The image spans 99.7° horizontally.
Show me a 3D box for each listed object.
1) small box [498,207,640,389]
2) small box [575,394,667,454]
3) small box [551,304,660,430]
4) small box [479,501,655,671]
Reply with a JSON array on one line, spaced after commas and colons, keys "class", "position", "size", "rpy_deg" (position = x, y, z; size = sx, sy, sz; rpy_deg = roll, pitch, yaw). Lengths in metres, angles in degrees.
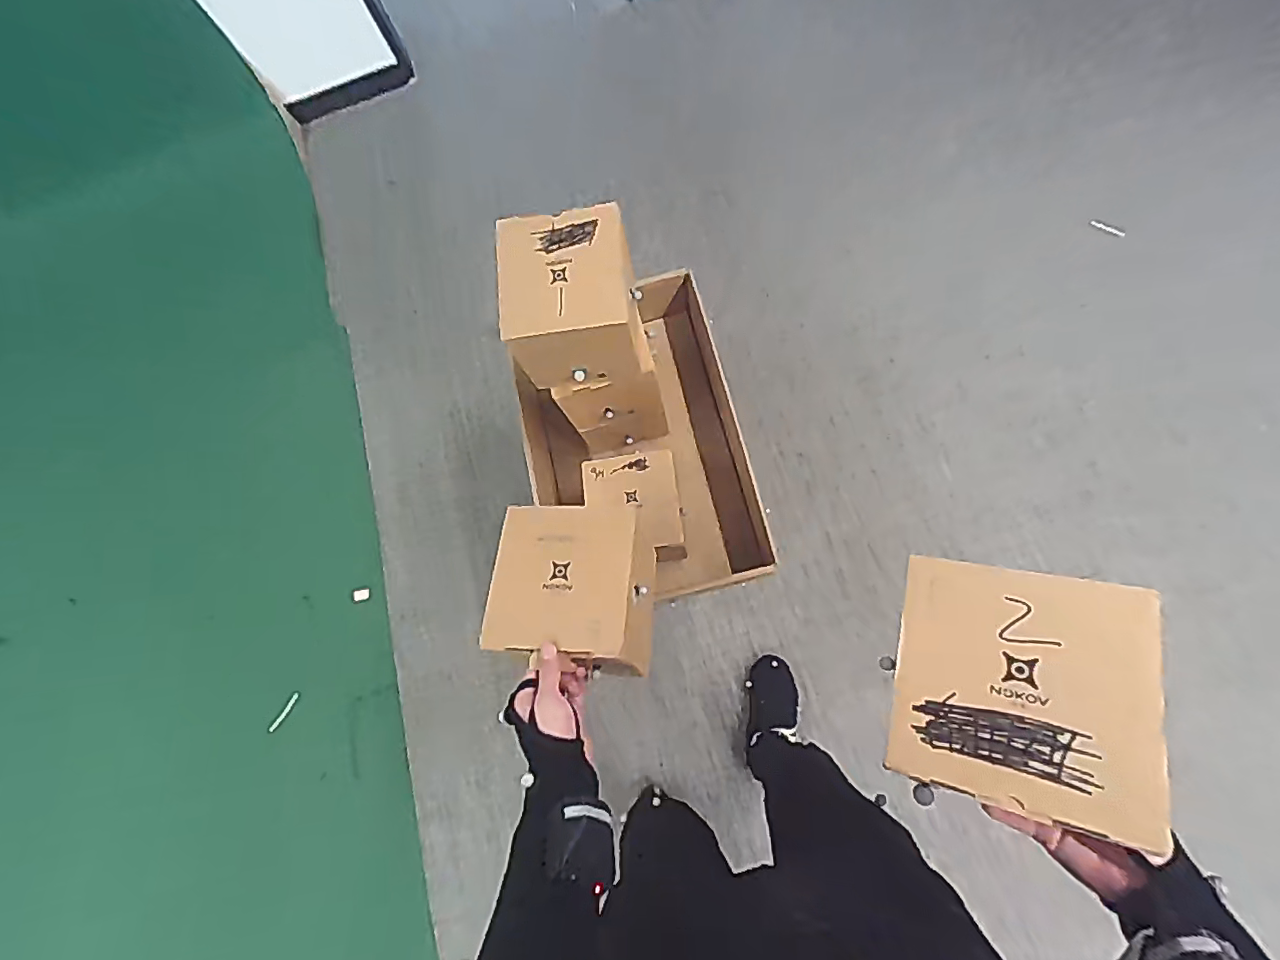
[{"class": "small box", "position": [-0.094, -0.249, 0.772], "size": [0.168, 0.176, 0.179], "rpy_deg": [-6, 77, 6]}, {"class": "small box", "position": [-0.047, -0.172, 1.085], "size": [0.168, 0.176, 0.179], "rpy_deg": [-15, 75, 4]}, {"class": "small box", "position": [-0.068, -0.208, 0.929], "size": [0.168, 0.176, 0.179], "rpy_deg": [-16, 76, 3]}, {"class": "small box", "position": [-0.078, 0.140, 0.691], "size": [0.168, 0.176, 0.179], "rpy_deg": [0, 61, 12]}]
